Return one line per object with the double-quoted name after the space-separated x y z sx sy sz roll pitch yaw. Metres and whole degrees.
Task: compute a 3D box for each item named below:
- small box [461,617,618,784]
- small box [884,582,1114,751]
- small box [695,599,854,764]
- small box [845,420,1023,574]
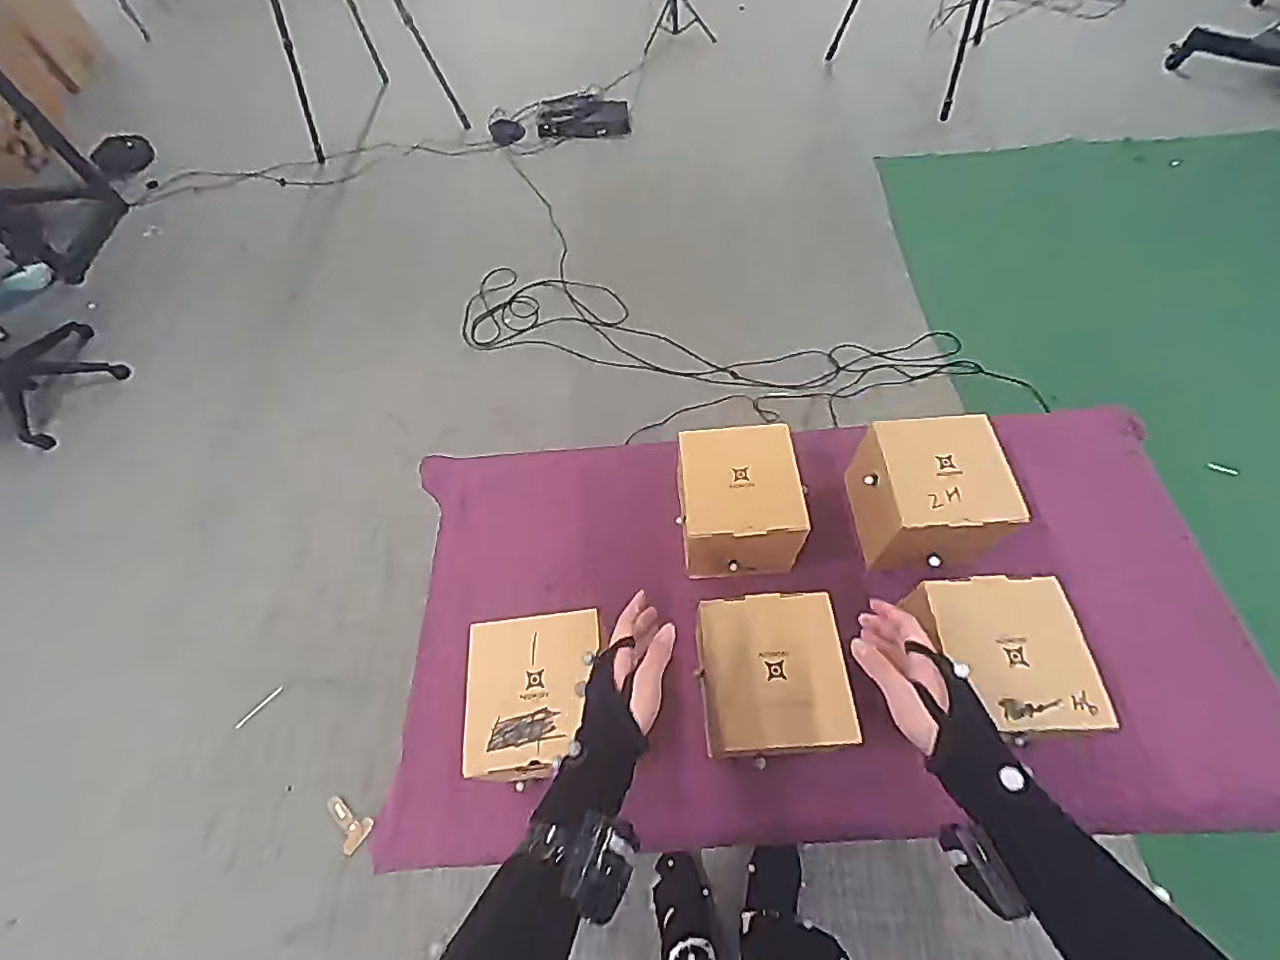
-0.124 0.300 0.720 0.168 0.176 0.179 -7 58 1 "small box"
0.436 0.245 0.698 0.168 0.176 0.179 -3 59 4 "small box"
0.161 0.271 0.713 0.168 0.176 0.179 -5 60 4 "small box"
0.426 0.030 0.822 0.168 0.176 0.179 -4 61 4 "small box"
